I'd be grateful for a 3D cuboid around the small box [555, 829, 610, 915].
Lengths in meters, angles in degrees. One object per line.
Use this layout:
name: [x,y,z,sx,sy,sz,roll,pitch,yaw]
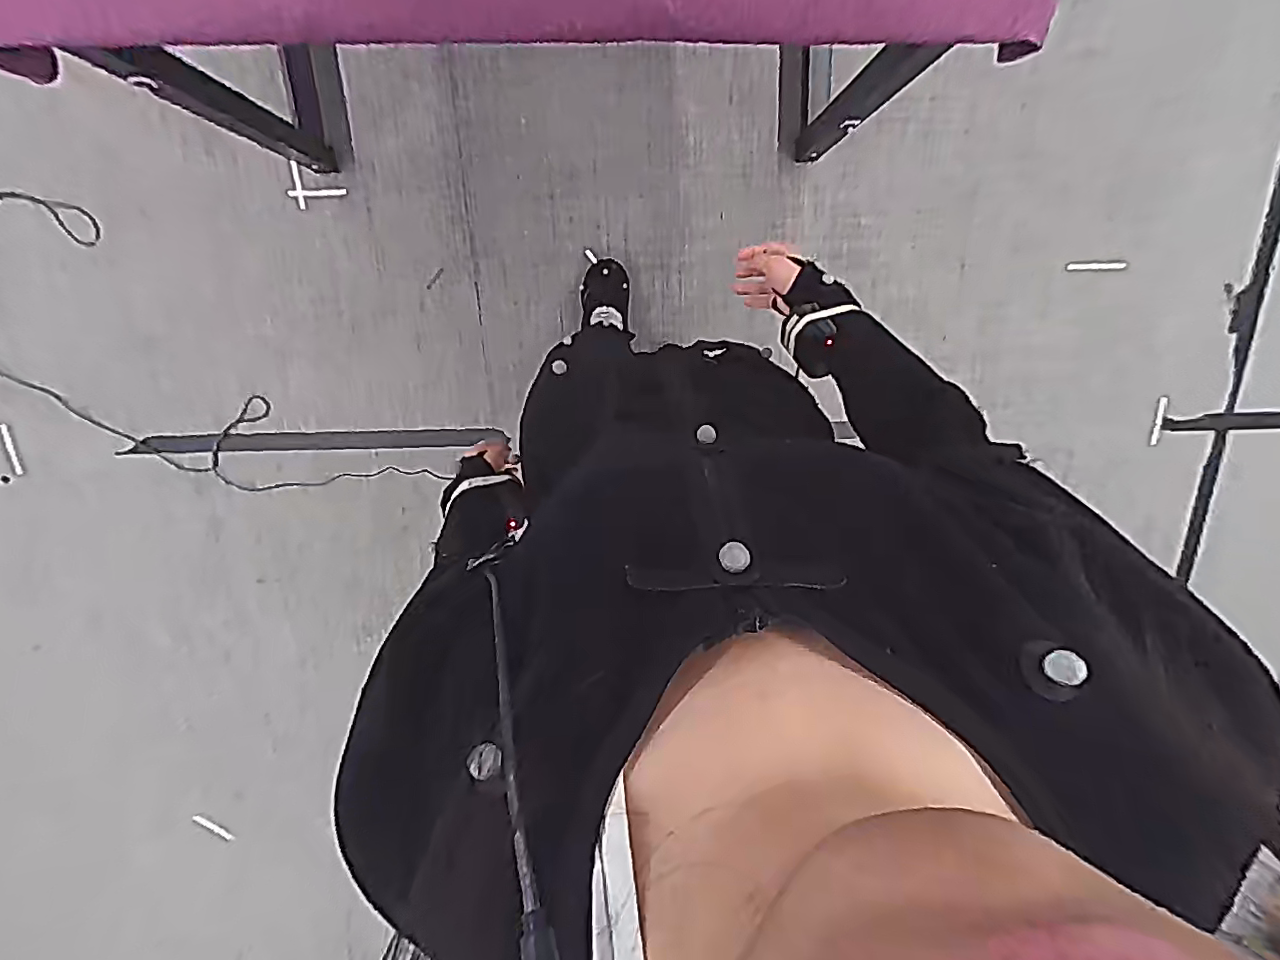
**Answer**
small box: [-0.187,1.295,1.797,0.168,0.176,0.179,-3,107,0]
